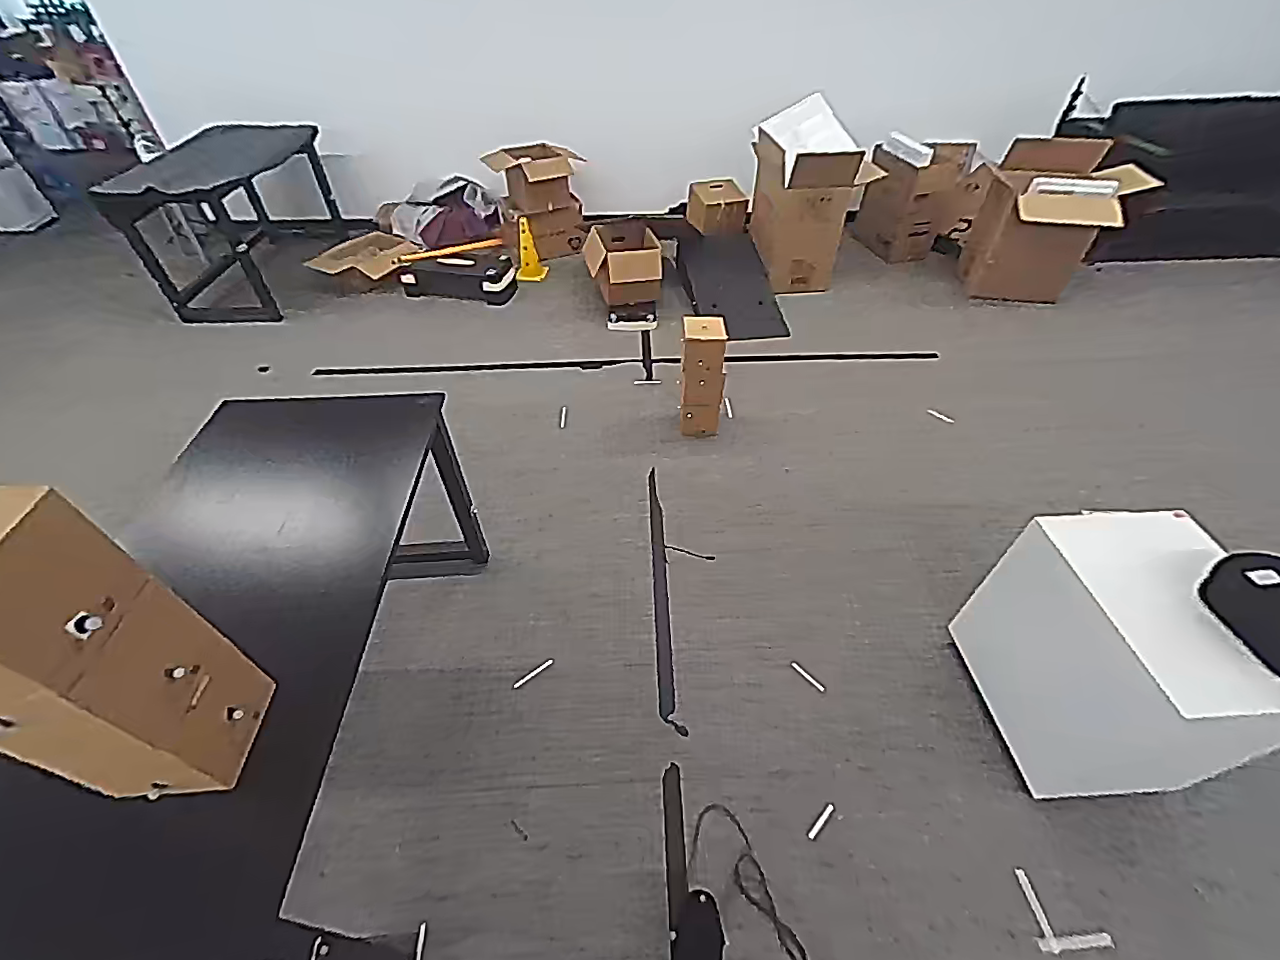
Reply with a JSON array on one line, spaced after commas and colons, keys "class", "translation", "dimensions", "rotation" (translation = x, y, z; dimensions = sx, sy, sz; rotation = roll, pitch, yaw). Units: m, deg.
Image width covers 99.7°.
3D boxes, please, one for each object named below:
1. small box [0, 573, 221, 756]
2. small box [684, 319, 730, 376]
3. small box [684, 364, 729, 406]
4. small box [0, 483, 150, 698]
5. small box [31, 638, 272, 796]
[{"class": "small box", "translation": [-0.700, 0.237, 0.689], "dimensions": [0.179, 0.176, 0.168], "rotation": [-2, 46, -2]}, {"class": "small box", "translation": [0.276, -0.555, 2.264], "dimensions": [0.168, 0.176, 0.179], "rotation": [1, 46, 0]}, {"class": "small box", "translation": [0.286, -0.436, 2.375], "dimensions": [0.179, 0.176, 0.168], "rotation": [0, 45, -2]}, {"class": "small box", "translation": [-0.700, 0.122, 0.574], "dimensions": [0.179, 0.176, 0.168], "rotation": [-3, 46, -3]}, {"class": "small box", "translation": [-0.698, 0.354, 0.806], "dimensions": [0.179, 0.176, 0.168], "rotation": [-3, 45, -3]}]
